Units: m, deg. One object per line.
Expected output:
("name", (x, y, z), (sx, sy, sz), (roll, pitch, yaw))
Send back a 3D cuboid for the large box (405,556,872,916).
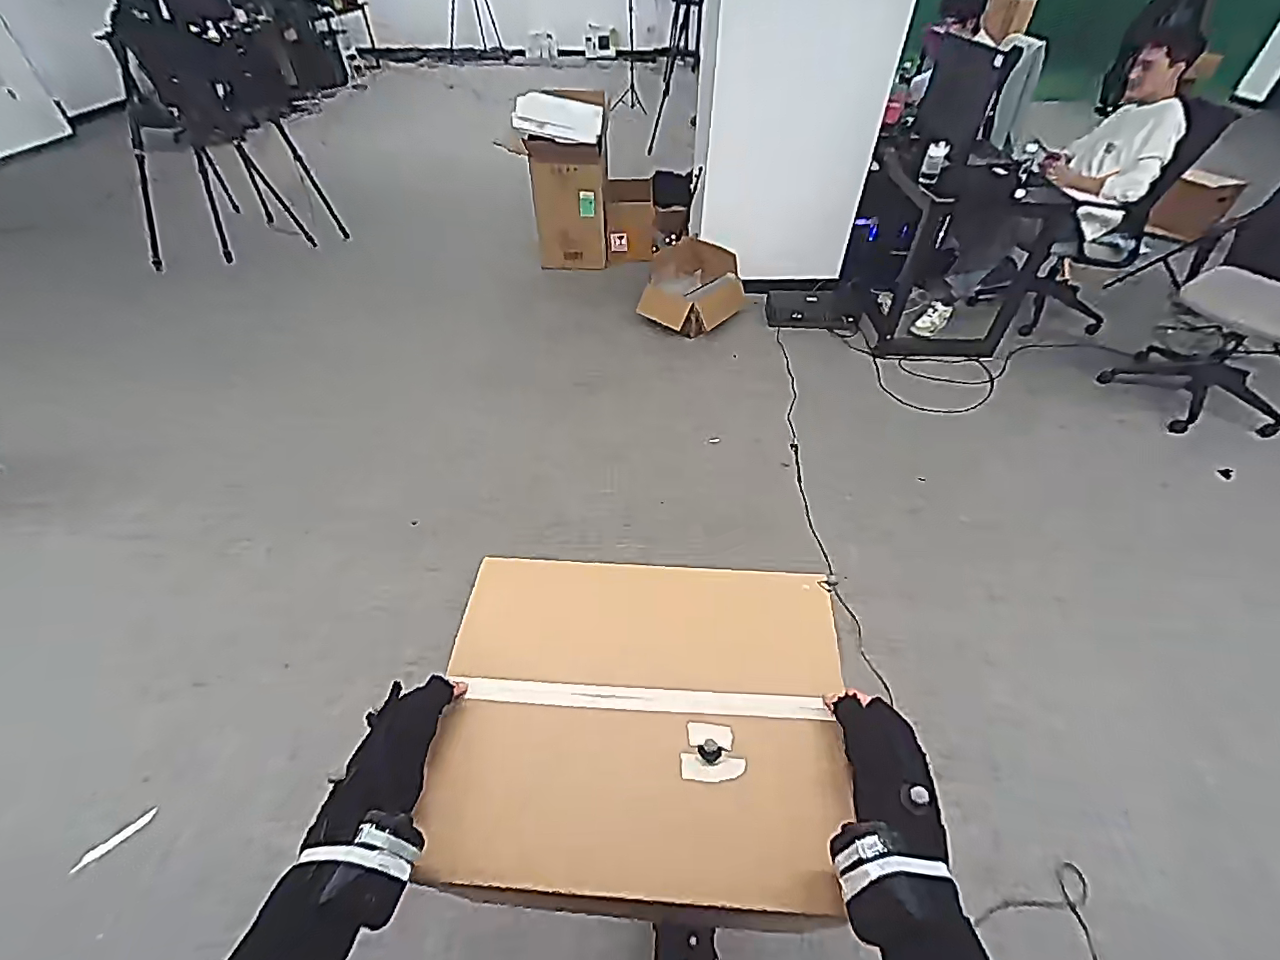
("large box", (0.004, 0.313, 0.659), (0.408, 0.320, 0.320), (3, 49, 3))
